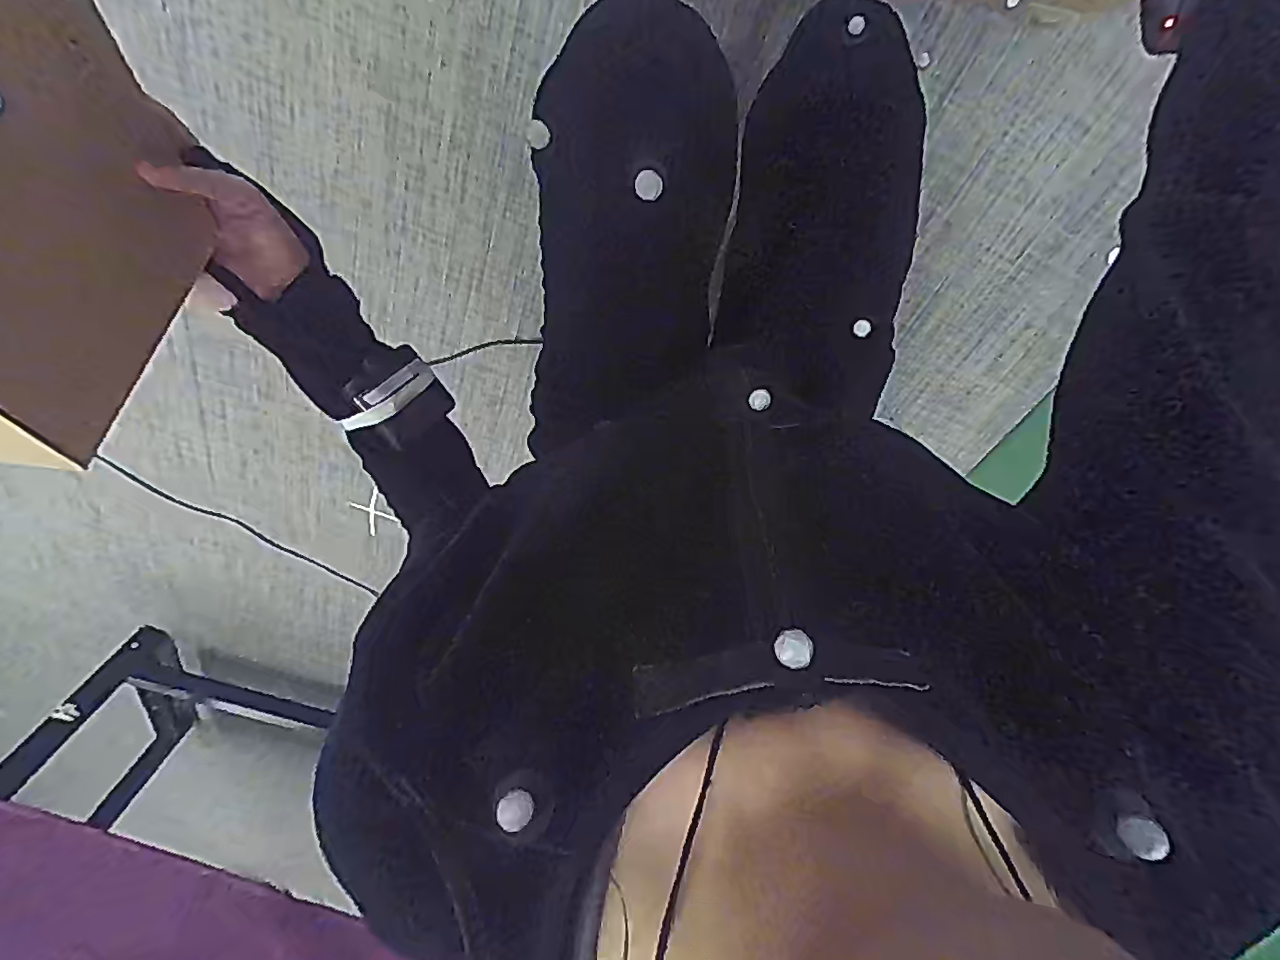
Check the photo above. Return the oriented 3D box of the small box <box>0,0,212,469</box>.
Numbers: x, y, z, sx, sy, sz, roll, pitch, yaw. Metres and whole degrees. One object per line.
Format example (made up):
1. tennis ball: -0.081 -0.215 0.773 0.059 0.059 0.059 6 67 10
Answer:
1. small box: -0.325 -0.126 0.214 0.168 0.176 0.179 8 152 -10
